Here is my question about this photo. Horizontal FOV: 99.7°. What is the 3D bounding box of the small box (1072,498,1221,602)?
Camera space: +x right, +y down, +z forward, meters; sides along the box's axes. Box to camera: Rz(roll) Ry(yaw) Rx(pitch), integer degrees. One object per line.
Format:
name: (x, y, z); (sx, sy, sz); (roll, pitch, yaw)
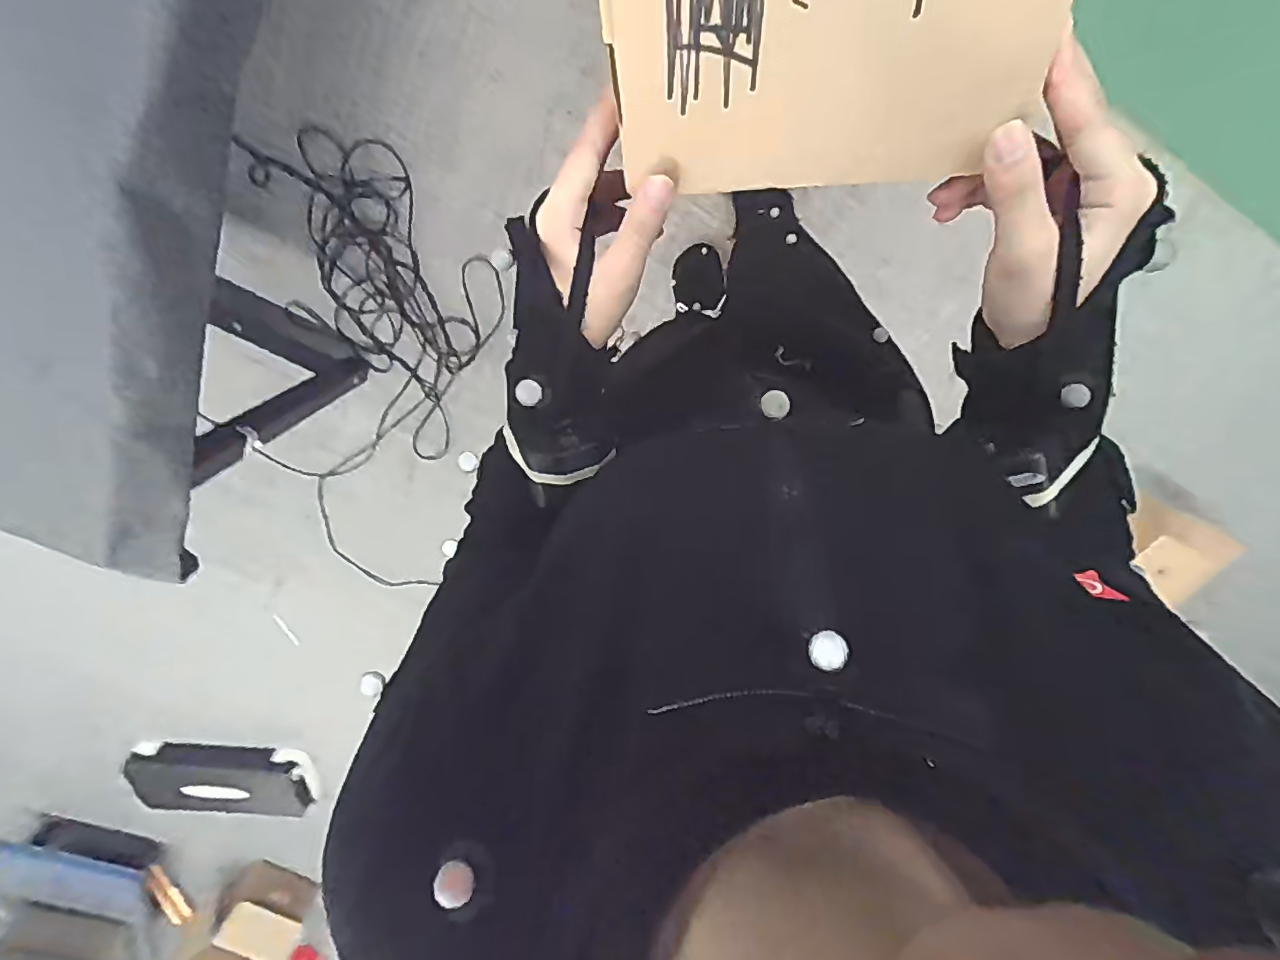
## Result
small box: (1.271, 0.172, 1.371); (0.179, 0.176, 0.168); (25, 115, -9)
